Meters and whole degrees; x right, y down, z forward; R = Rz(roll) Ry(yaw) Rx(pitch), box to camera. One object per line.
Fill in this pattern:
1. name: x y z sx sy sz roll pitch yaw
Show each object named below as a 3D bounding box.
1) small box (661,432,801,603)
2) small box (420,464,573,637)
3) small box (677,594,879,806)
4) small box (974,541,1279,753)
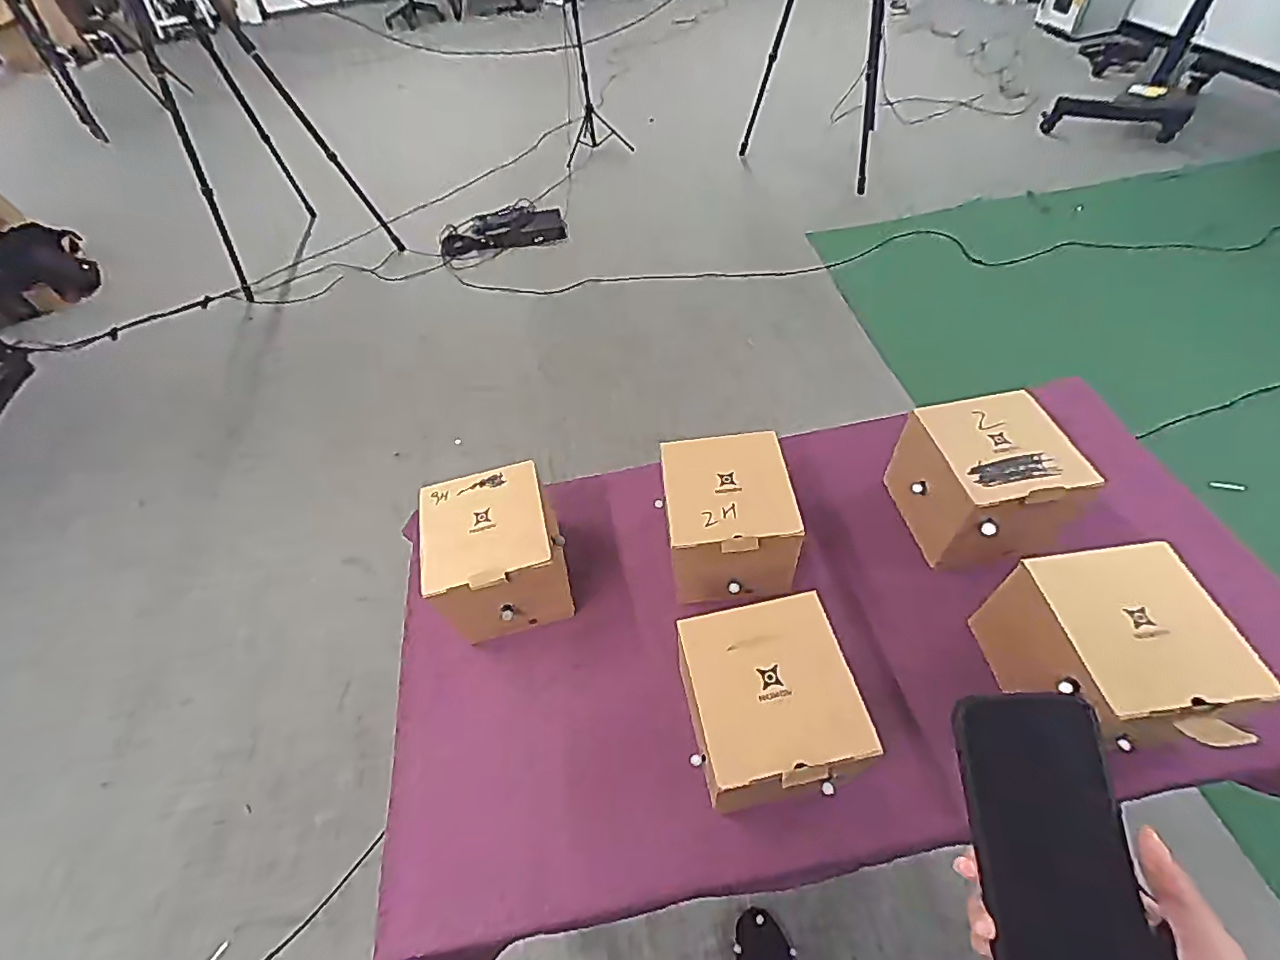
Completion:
1. small box: 0.121 0.057 0.780 0.168 0.176 0.179 -7 53 3
2. small box: -0.201 0.110 0.780 0.168 0.176 0.179 -15 53 -5
3. small box: 0.144 0.260 0.624 0.168 0.176 0.179 -12 52 -2
4. small box: 0.528 0.195 0.623 0.168 0.176 0.179 -8 53 1
